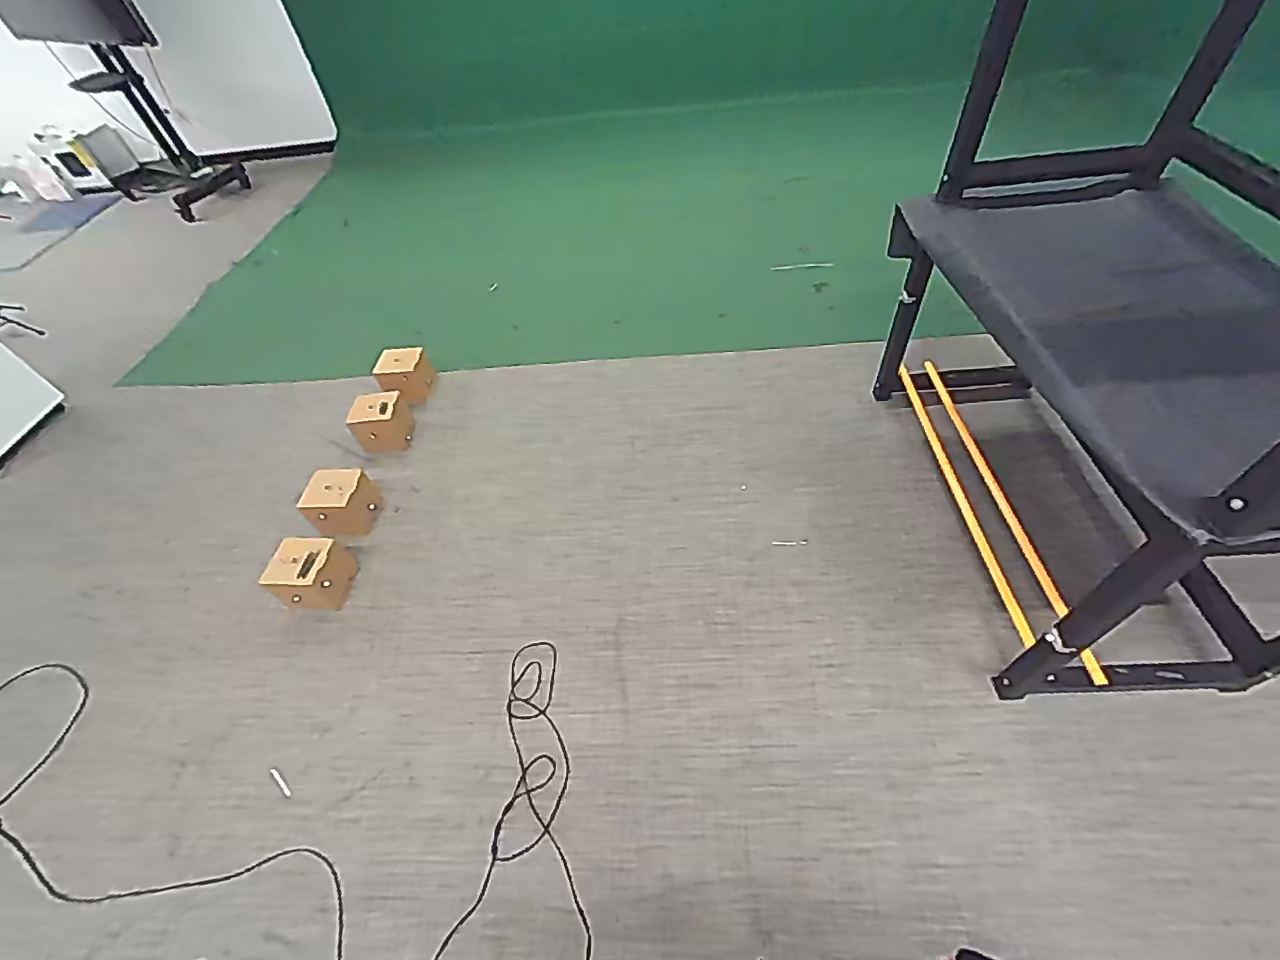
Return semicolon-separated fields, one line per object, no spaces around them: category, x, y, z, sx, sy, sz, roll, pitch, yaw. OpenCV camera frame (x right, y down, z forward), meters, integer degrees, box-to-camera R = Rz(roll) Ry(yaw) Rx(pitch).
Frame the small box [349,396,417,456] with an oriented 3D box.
small box;-1.017;-0.213;2.157;0.179;0.176;0.168;-6;48;2

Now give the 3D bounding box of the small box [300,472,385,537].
small box;-1.034;0.090;1.893;0.179;0.176;0.168;-1;50;5

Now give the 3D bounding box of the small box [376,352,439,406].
small box;-1.006;-0.433;2.349;0.179;0.176;0.168;-3;50;4
